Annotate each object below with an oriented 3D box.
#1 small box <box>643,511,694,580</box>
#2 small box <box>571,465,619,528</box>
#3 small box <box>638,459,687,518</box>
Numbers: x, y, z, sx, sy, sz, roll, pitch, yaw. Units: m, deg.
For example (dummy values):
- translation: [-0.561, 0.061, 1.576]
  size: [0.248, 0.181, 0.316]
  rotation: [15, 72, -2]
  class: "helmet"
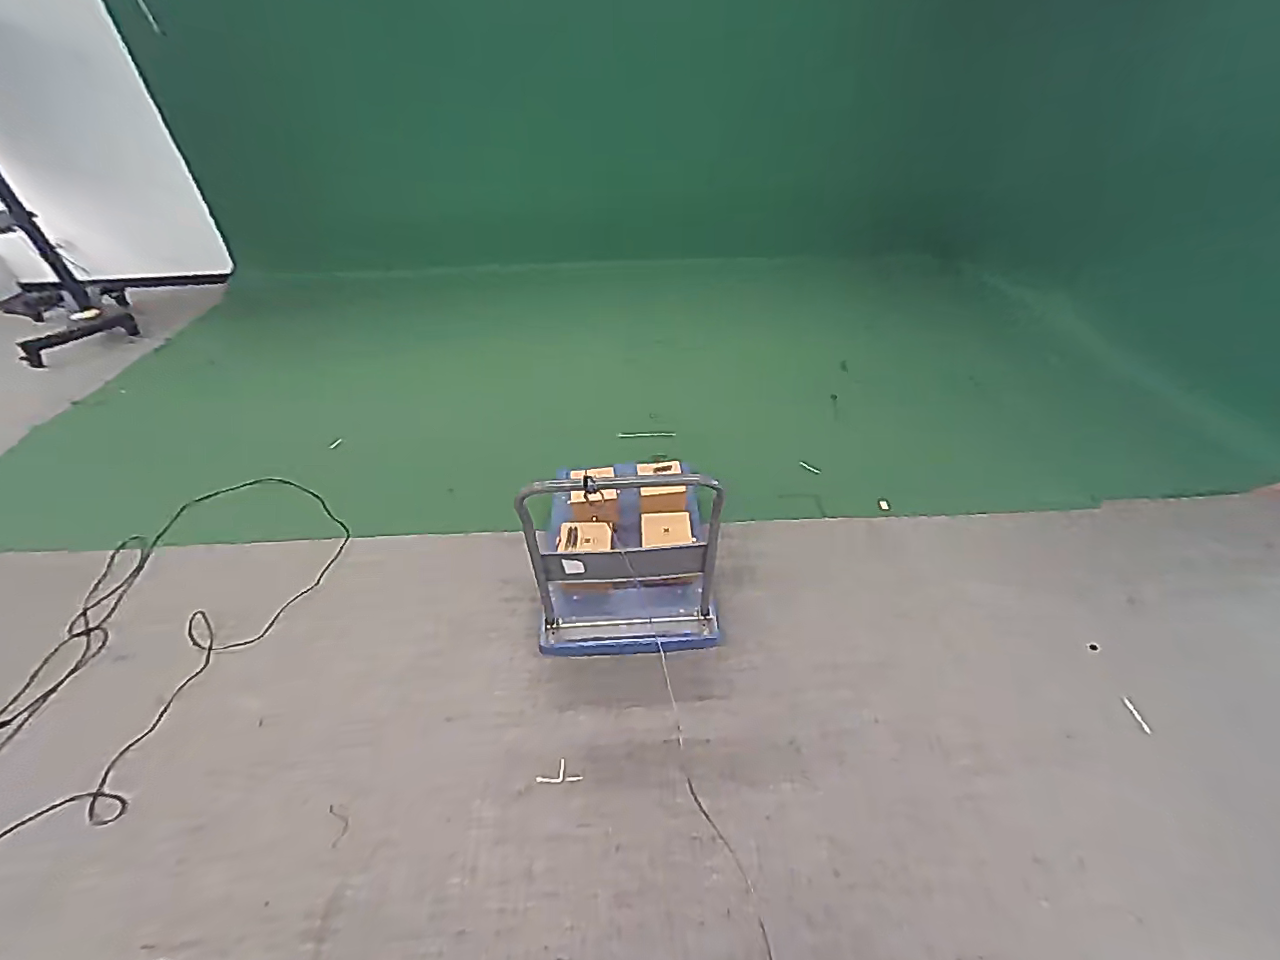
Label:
- translation: [0.092, 0.225, 1.854]
  size: [0.168, 0.176, 0.179]
  rotation: [-2, 43, 0]
  class: "small box"
- translation: [-0.168, 0.068, 2.040]
  size: [0.168, 0.176, 0.179]
  rotation: [-4, 42, -4]
  class: "small box"
- translation: [0.082, 0.045, 2.055]
  size: [0.168, 0.176, 0.179]
  rotation: [-6, 43, -3]
  class: "small box"
